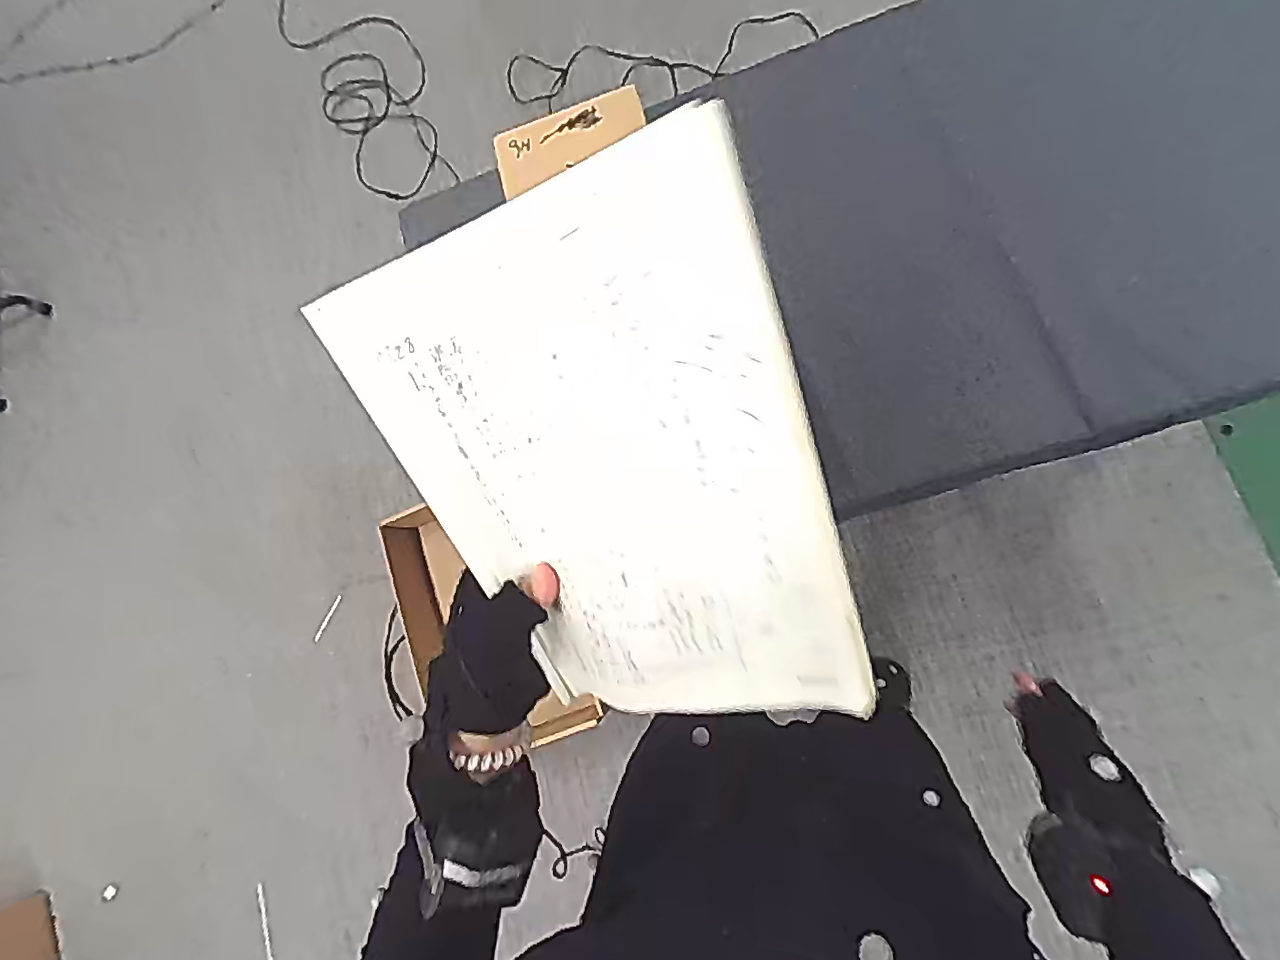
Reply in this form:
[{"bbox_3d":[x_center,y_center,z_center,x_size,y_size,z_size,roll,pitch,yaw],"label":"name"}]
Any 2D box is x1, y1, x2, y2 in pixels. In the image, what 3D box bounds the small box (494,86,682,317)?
[{"bbox_3d":[-0.049,-0.304,0.646,0.168,0.176,0.179,-16,79,7],"label":"small box"}]
